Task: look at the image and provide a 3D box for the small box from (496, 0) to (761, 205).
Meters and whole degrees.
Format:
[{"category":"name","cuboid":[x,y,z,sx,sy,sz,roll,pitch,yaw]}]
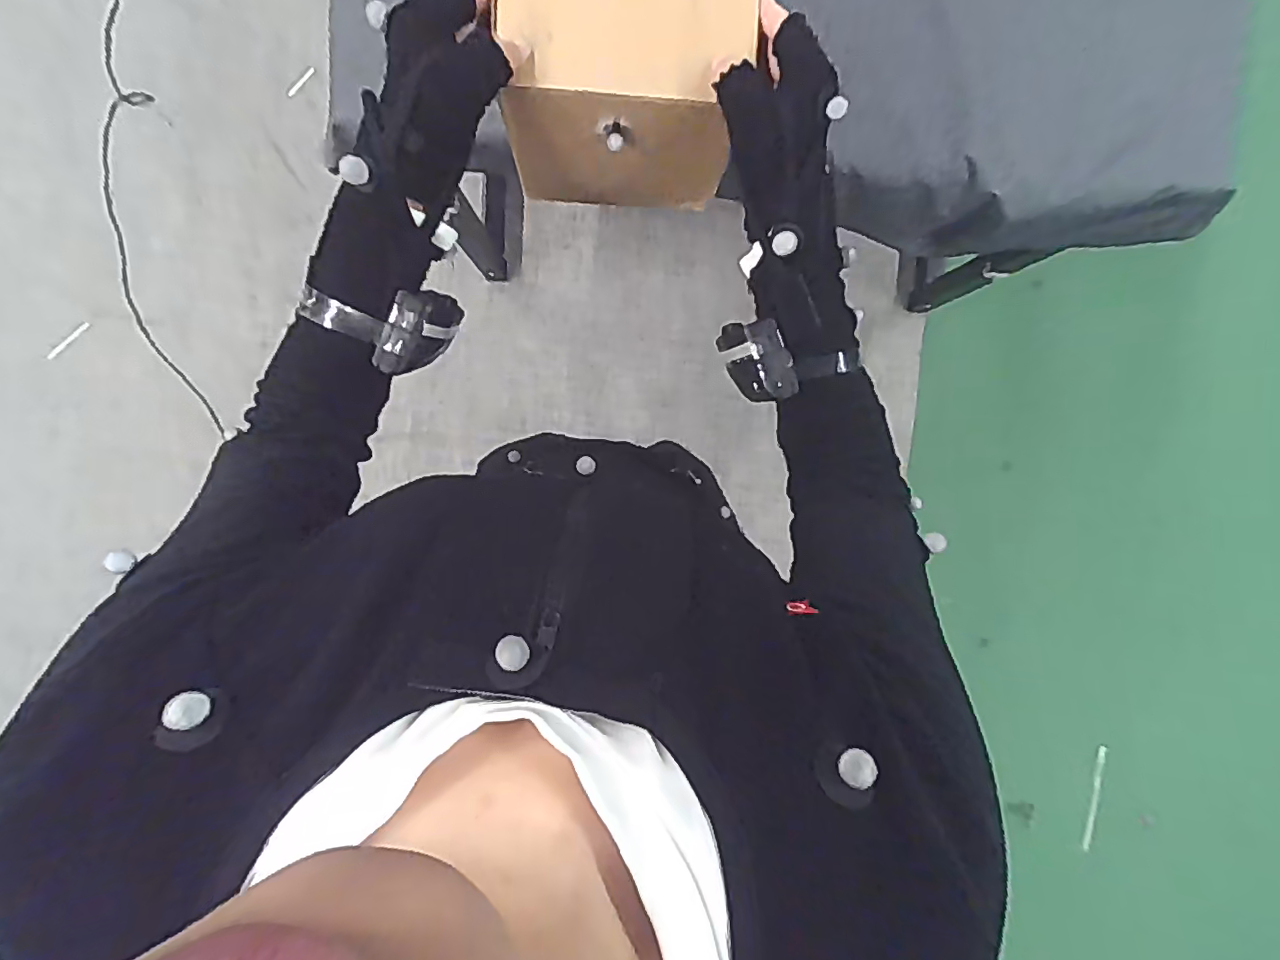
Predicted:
[{"category":"small box","cuboid":[-0.011,-0.341,0.433,0.179,0.176,0.168,1,94,-6]}]
